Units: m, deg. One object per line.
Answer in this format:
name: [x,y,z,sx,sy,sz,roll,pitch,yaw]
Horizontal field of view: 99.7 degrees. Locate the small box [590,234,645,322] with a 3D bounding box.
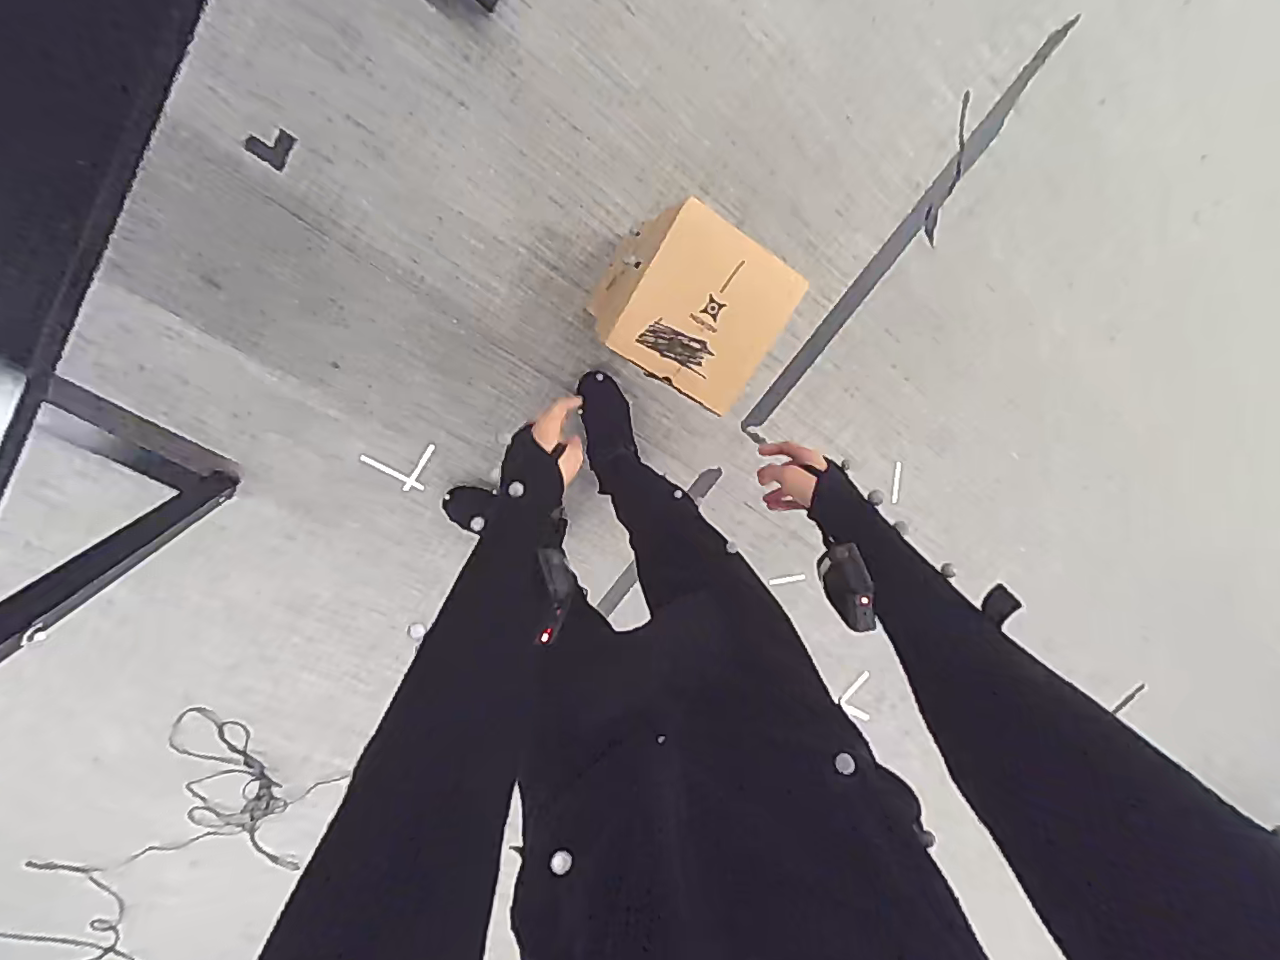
small box: [0.006,-0.379,1.118,0.168,0.176,0.179,30,105,-18]

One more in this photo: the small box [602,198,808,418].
small box: [0.064,-0.207,0.661,0.168,0.176,0.179,28,105,-17]
